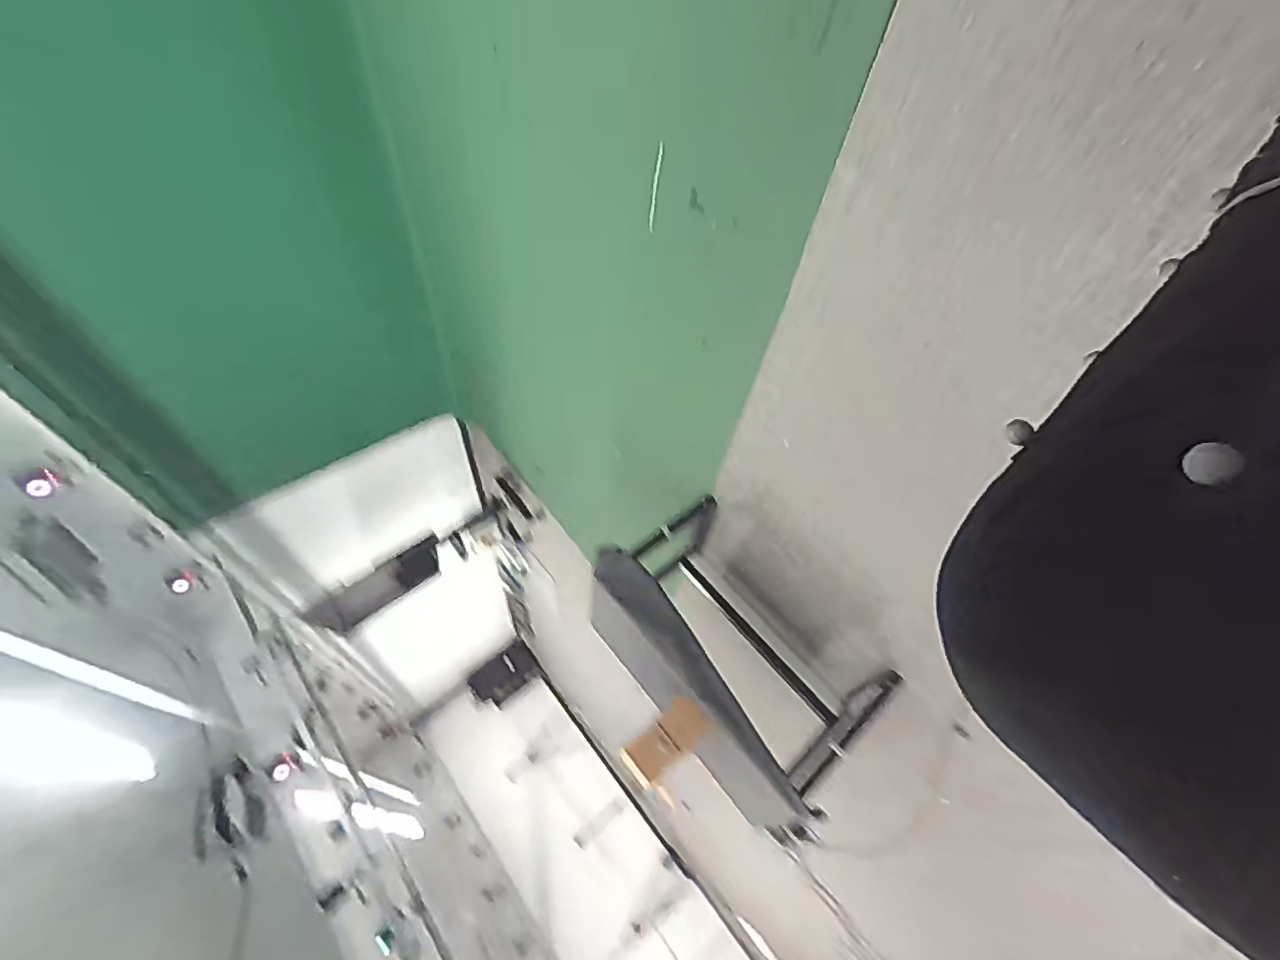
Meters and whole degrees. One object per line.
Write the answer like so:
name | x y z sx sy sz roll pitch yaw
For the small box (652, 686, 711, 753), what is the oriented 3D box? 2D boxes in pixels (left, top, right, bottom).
small box | 0.166 0.979 2.213 0.179 0.176 0.168 47 152 21

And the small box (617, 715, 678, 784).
small box | 0.031 1.065 2.135 0.168 0.176 0.179 44 150 21
